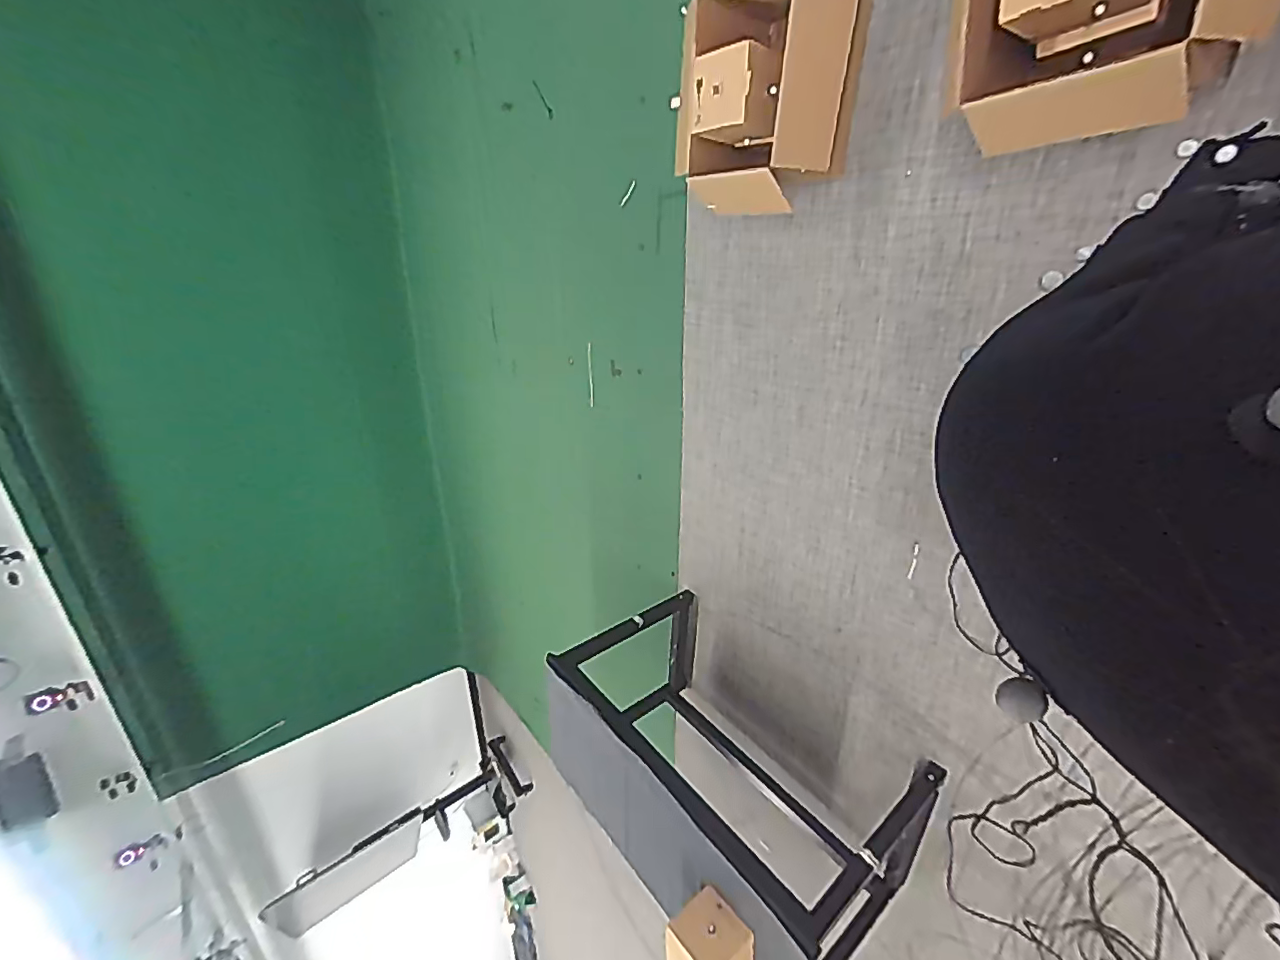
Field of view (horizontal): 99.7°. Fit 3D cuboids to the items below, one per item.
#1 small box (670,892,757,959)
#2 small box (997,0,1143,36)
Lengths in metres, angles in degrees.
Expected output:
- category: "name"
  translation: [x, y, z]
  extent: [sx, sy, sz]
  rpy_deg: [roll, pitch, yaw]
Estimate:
- category: "small box"
  translation: [0.196, 1.267, 1.443]
  extent: [0.168, 0.176, 0.179]
  rpy_deg: [22, 122, 48]
- category: "small box"
  translation: [0.692, -0.835, 0.848]
  extent: [0.168, 0.176, 0.179]
  rpy_deg: [16, 118, 48]
